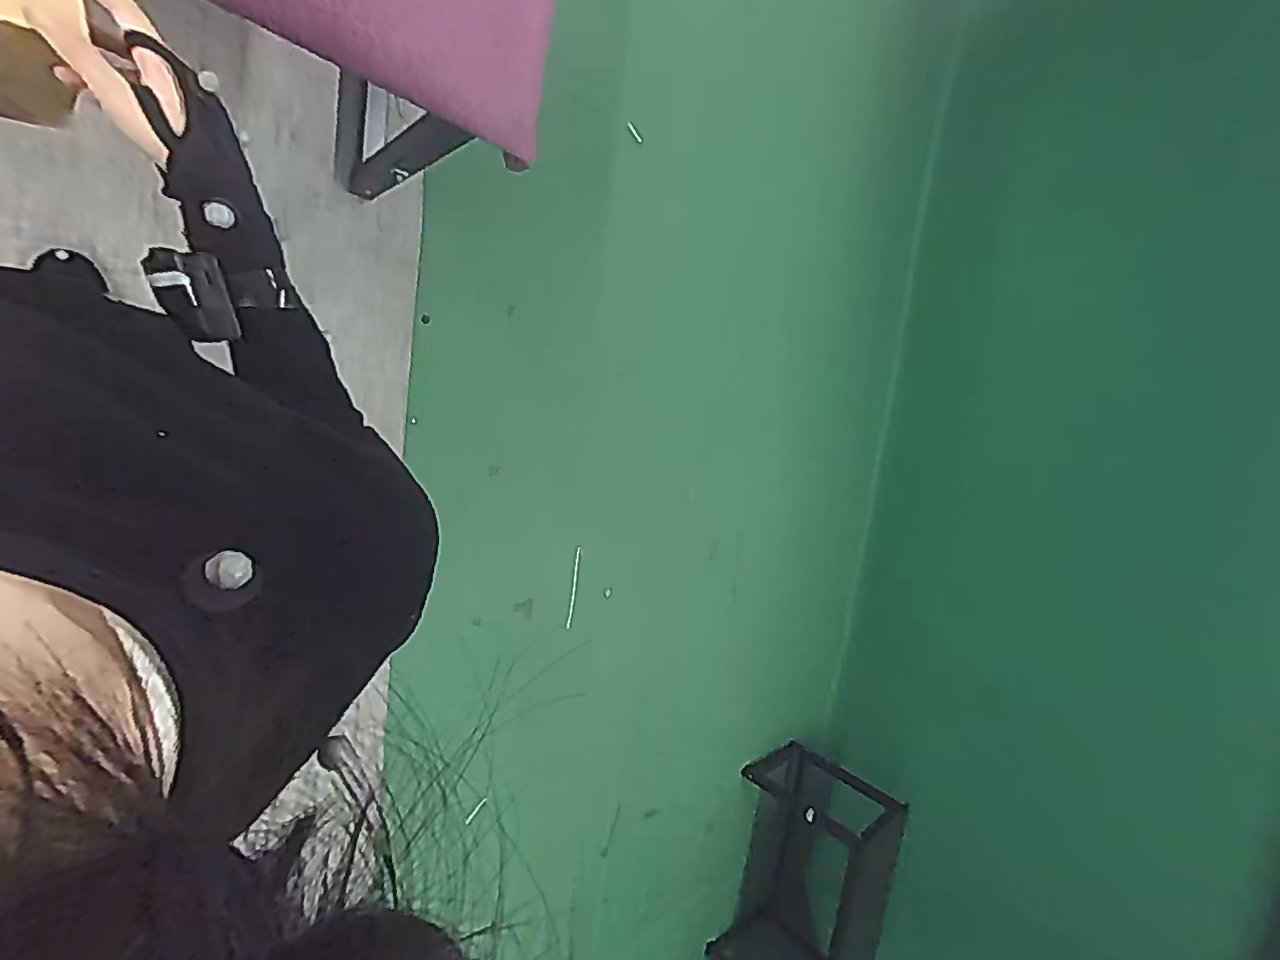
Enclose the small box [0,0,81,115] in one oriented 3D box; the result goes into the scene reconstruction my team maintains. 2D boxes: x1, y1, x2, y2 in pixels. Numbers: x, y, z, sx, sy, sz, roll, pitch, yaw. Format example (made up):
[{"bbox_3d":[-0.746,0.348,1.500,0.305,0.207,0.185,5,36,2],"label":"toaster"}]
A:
[{"bbox_3d":[-0.458,-0.349,0.309,0.168,0.176,0.179,-15,105,-49],"label":"small box"}]
